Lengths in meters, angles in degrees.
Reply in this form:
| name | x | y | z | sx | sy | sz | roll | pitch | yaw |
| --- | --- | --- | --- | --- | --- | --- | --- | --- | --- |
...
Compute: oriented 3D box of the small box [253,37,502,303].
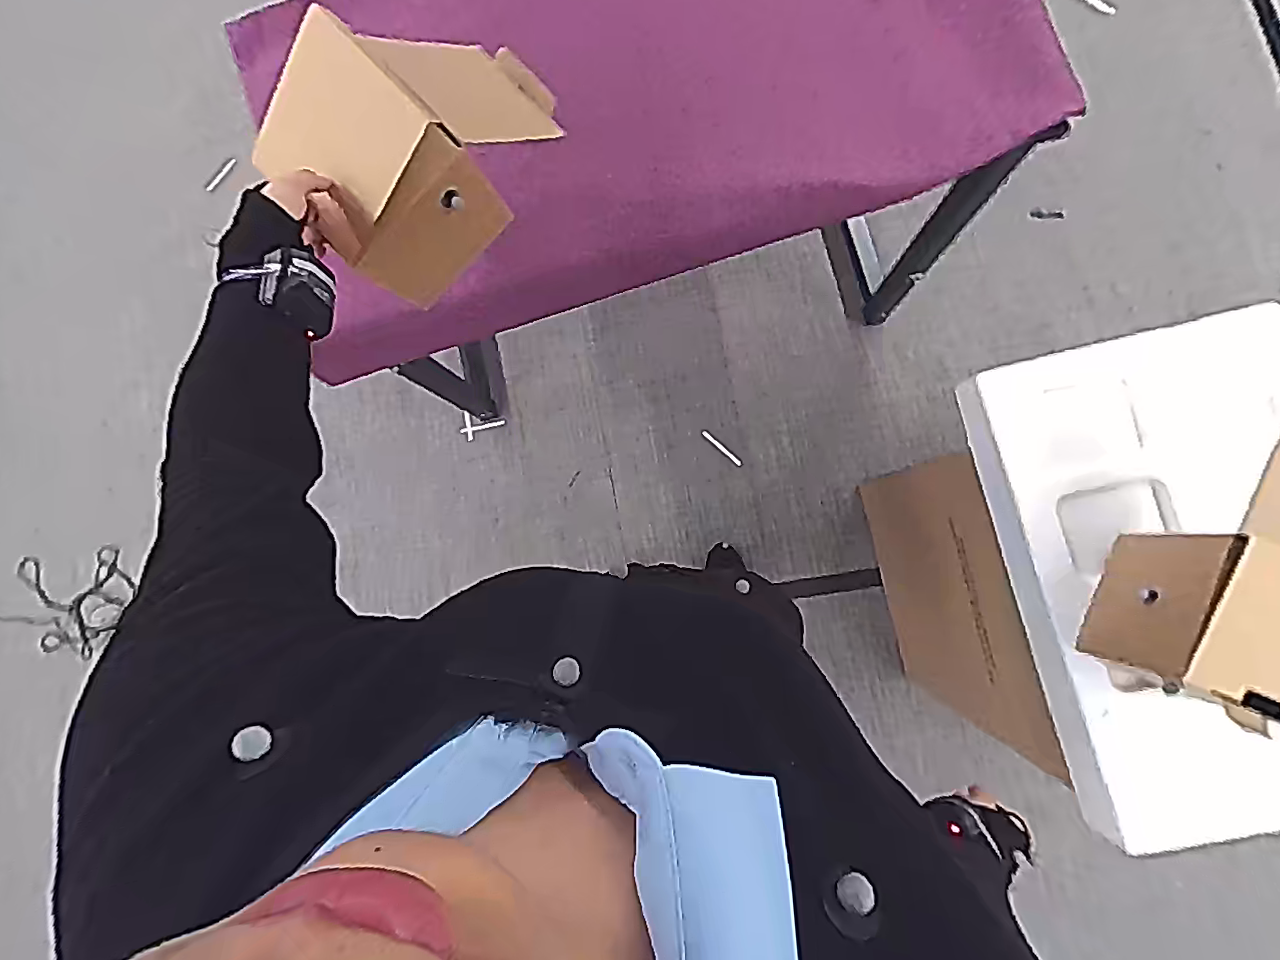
| name | x | y | z | sx | sy | sz | roll | pitch | yaw |
| --- | --- | --- | --- | --- | --- | --- | --- | --- | --- |
| small box | -0.288 | -0.345 | 0.641 | 0.179 | 0.176 | 0.168 | -44 | 87 | 7 |
